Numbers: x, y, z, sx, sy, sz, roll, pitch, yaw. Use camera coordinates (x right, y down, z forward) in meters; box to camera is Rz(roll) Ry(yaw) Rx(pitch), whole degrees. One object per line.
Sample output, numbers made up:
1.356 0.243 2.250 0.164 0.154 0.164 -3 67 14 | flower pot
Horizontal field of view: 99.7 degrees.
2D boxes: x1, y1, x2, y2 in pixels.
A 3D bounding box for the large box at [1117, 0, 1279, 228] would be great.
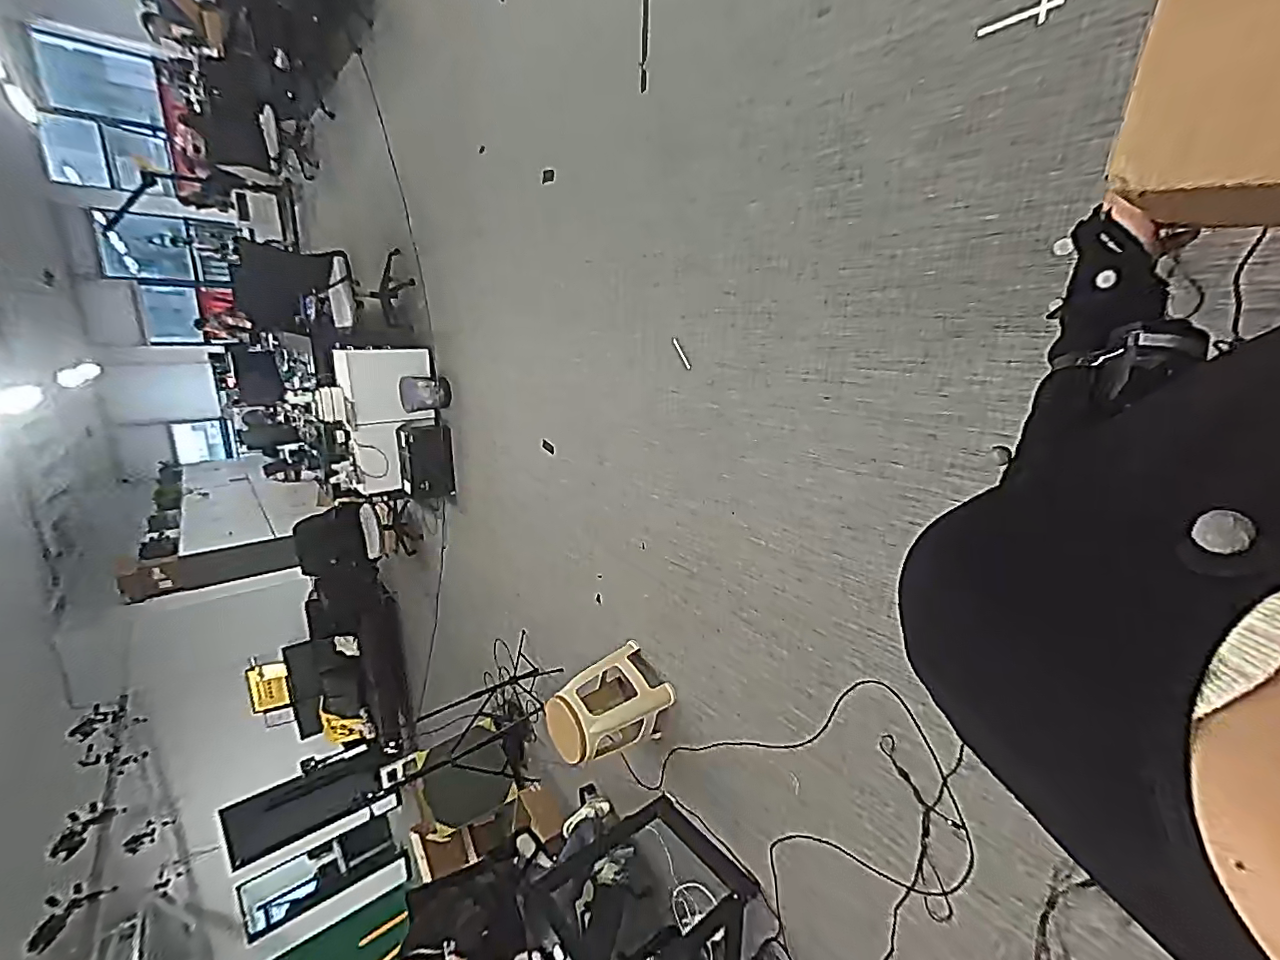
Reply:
0.473 -0.272 0.179 0.408 0.320 0.320 20 120 40 | large box
